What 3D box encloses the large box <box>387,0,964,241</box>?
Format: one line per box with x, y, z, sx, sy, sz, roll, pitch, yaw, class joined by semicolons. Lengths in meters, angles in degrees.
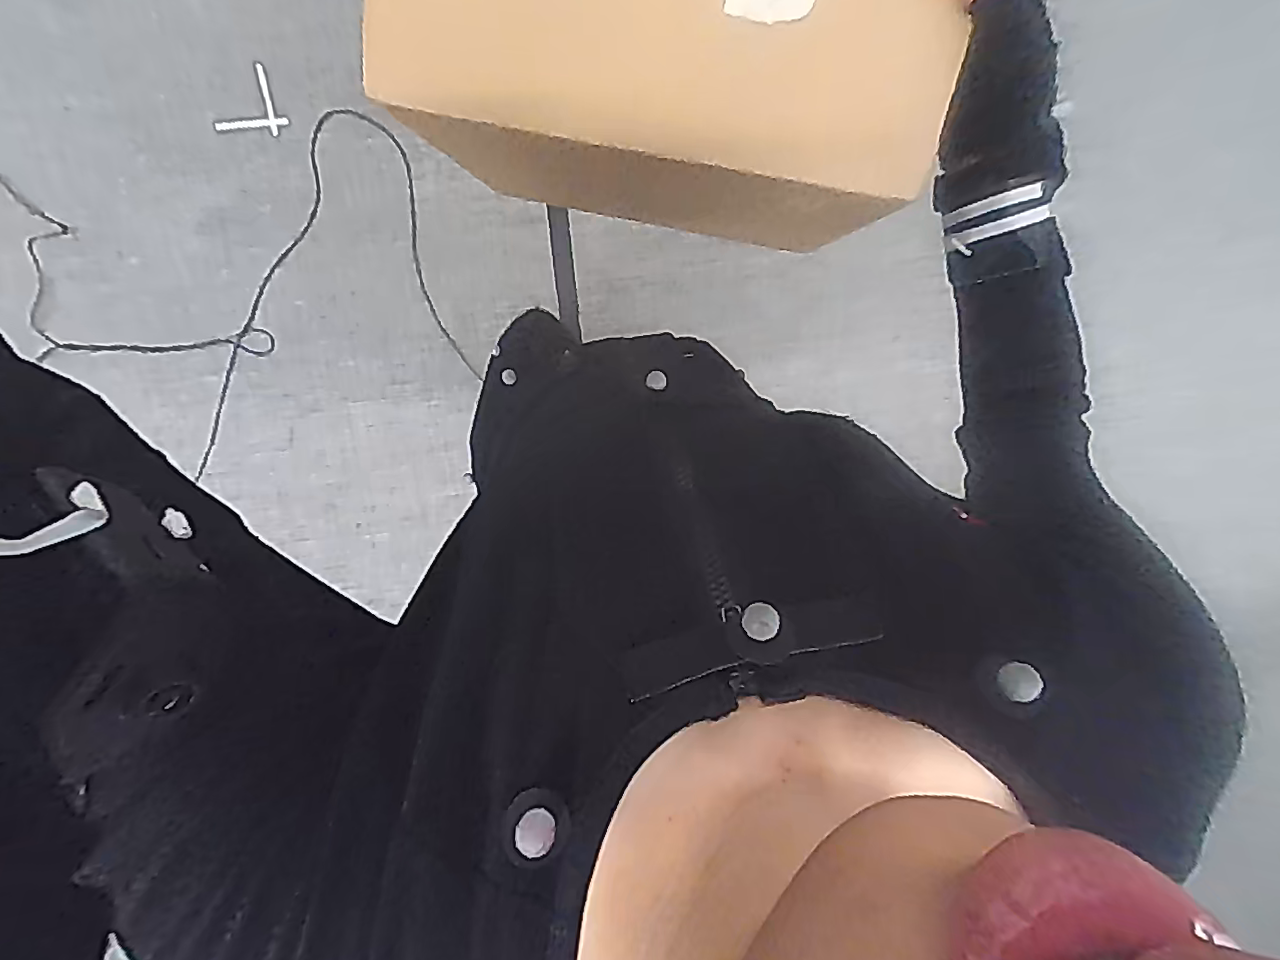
0.036;-0.435;0.500;0.408;0.320;0.320;10;108;-1;large box
